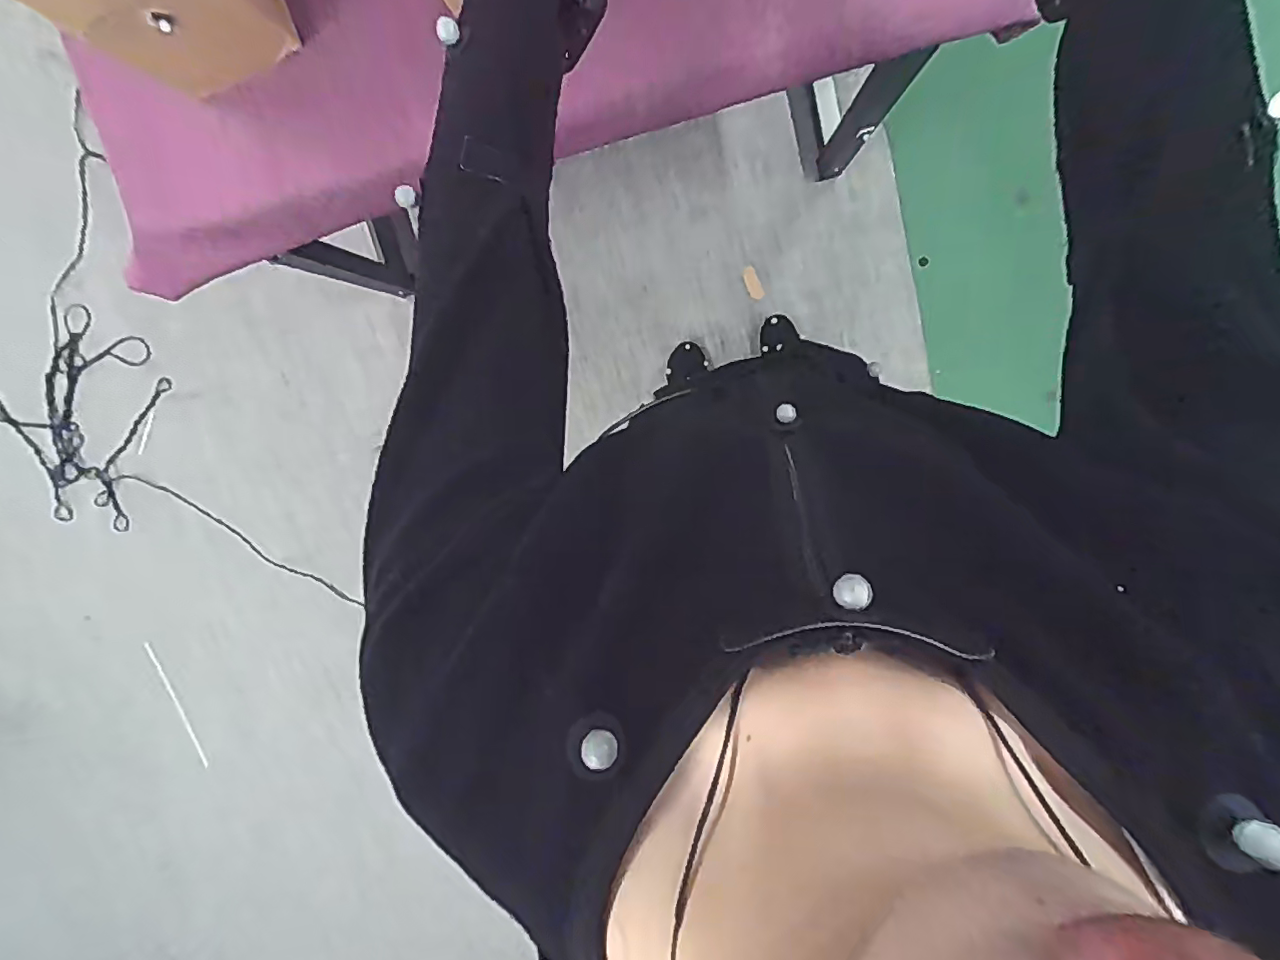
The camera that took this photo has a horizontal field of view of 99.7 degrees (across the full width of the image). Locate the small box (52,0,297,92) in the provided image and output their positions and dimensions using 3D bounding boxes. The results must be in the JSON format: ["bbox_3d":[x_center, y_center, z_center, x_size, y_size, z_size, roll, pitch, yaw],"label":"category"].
[{"bbox_3d":[-0.552,-0.596,0.623,0.179,0.176,0.168,-18,100,7],"label":"small box"}]
